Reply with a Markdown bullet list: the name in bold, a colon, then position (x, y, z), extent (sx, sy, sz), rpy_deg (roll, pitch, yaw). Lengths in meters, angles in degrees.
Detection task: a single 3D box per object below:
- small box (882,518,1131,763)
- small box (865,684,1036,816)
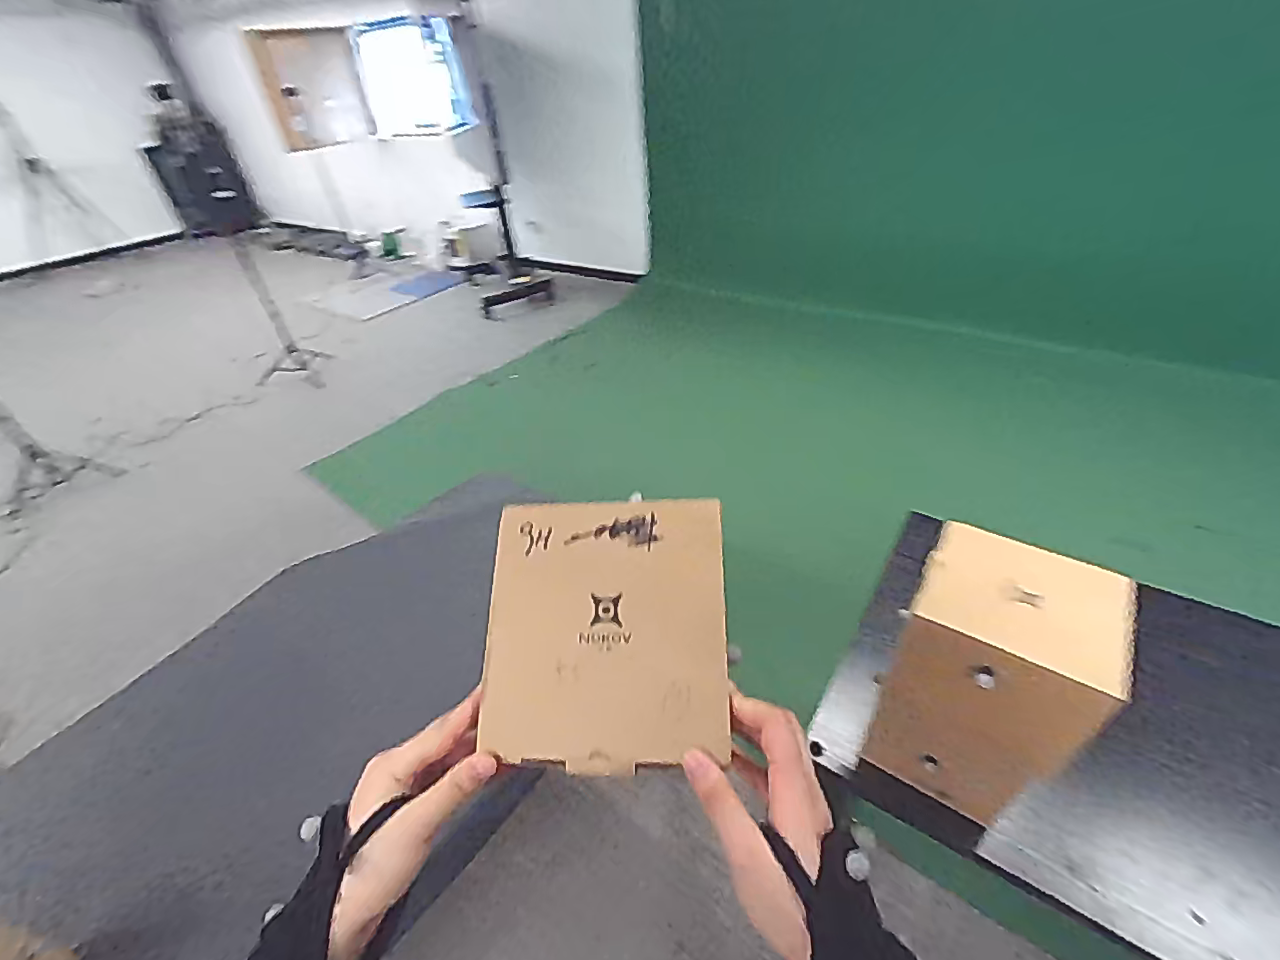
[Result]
- **small box**: position (0.395, 0.178, 0.600), extent (0.179, 0.176, 0.168), rpy_deg (21, 45, 30)
- **small box**: position (0.412, 0.295, 0.713), extent (0.168, 0.176, 0.179), rpy_deg (21, 45, 29)
